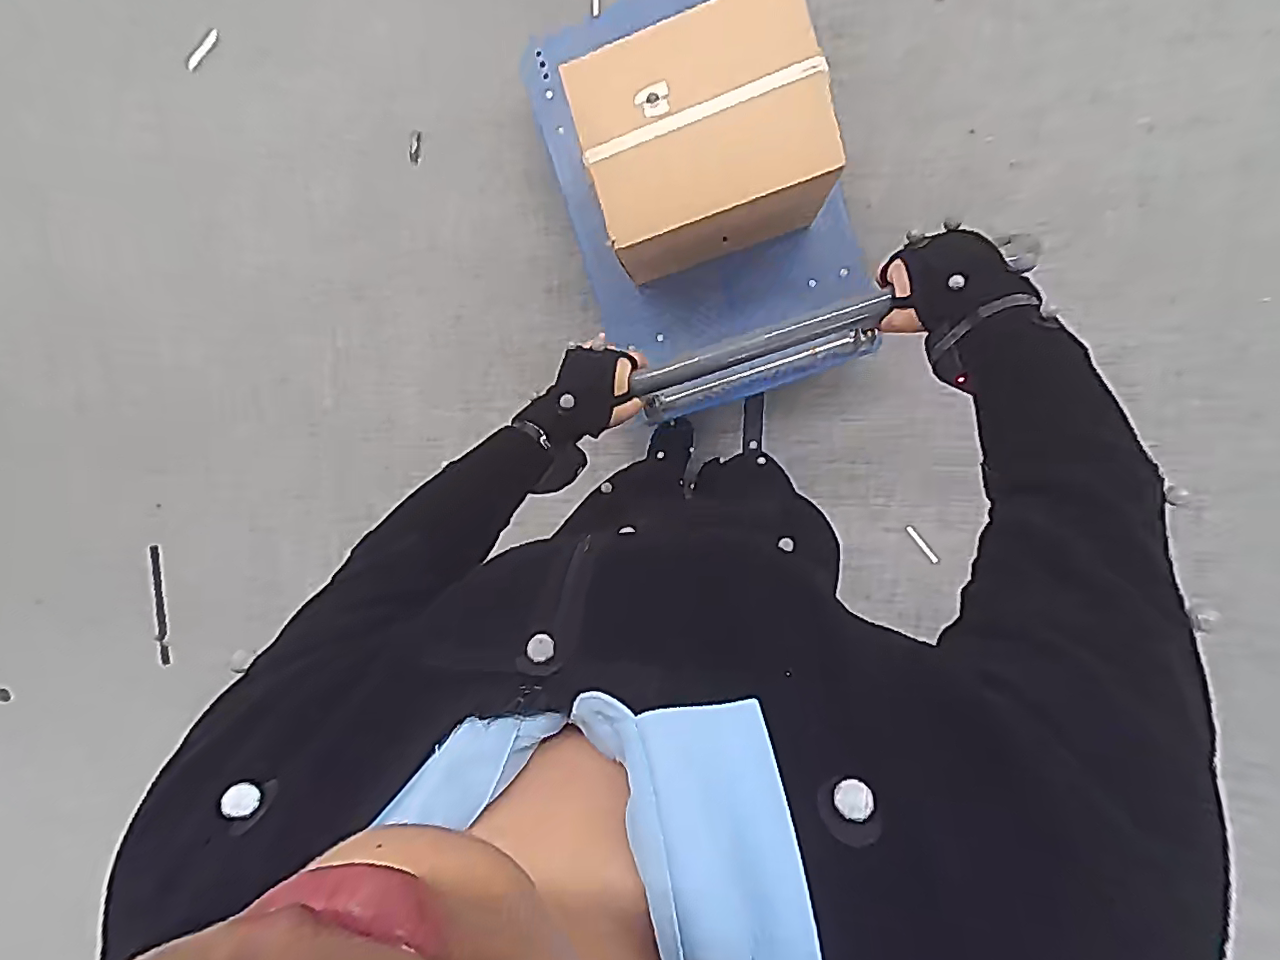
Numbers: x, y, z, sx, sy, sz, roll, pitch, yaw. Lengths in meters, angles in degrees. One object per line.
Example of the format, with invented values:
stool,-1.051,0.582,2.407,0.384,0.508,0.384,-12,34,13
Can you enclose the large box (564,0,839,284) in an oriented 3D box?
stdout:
large box,0.120,-0.628,1.060,0.408,0.320,0.320,-17,95,10
